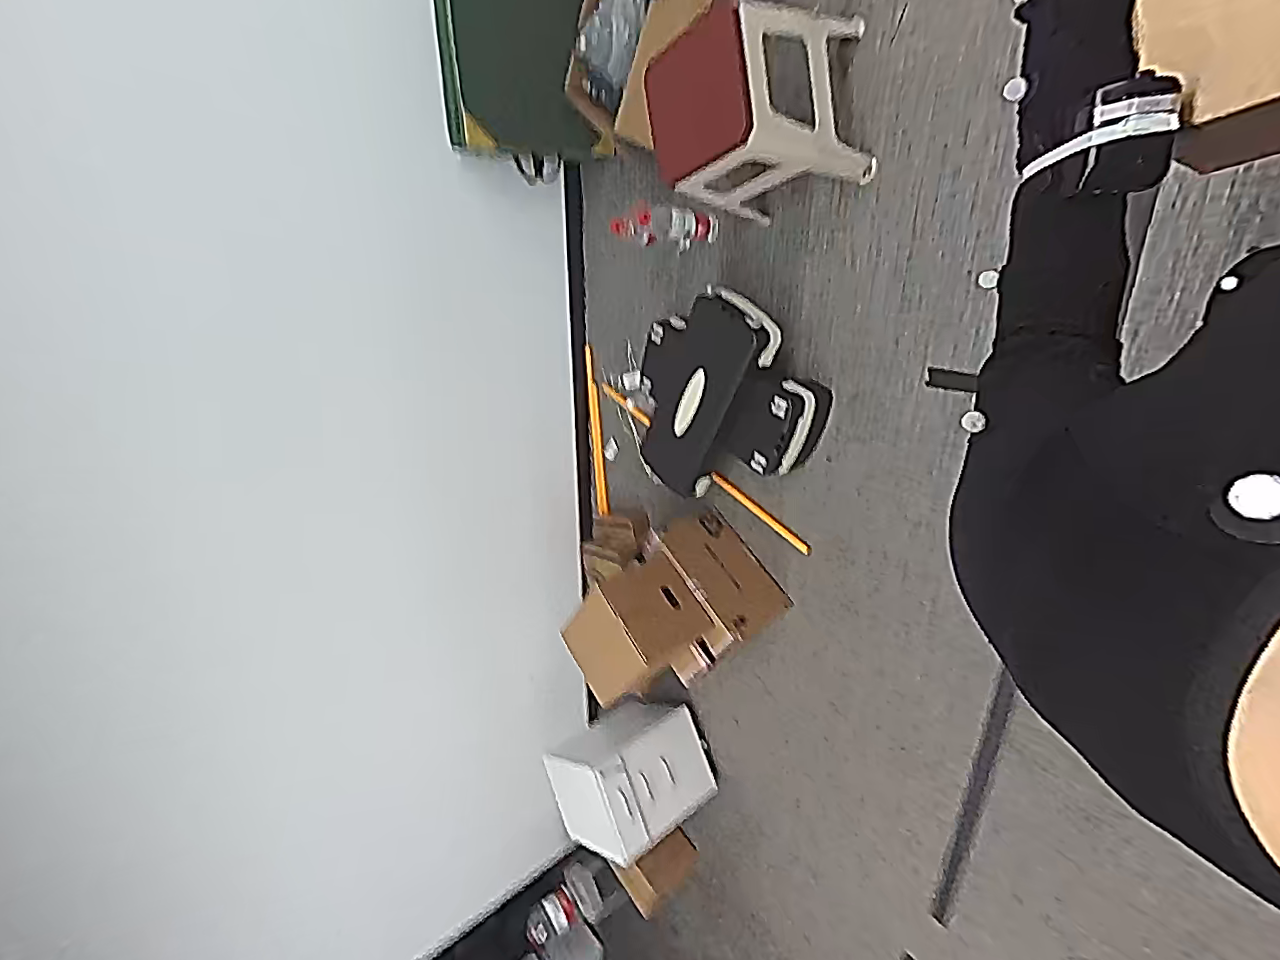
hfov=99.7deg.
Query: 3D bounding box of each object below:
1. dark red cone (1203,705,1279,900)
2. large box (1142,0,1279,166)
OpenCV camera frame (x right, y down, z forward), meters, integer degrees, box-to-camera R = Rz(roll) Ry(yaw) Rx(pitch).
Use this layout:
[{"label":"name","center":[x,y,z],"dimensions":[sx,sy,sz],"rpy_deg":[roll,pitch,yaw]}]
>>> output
[{"label":"dark red cone","center":[1.135,0.595,0.949],"dimensions":[0.202,0.394,0.201],"rpy_deg":[29,124,42]},{"label":"large box","center":[0.561,-0.422,0.286],"dimensions":[0.408,0.320,0.320],"rpy_deg":[4,109,51]}]
